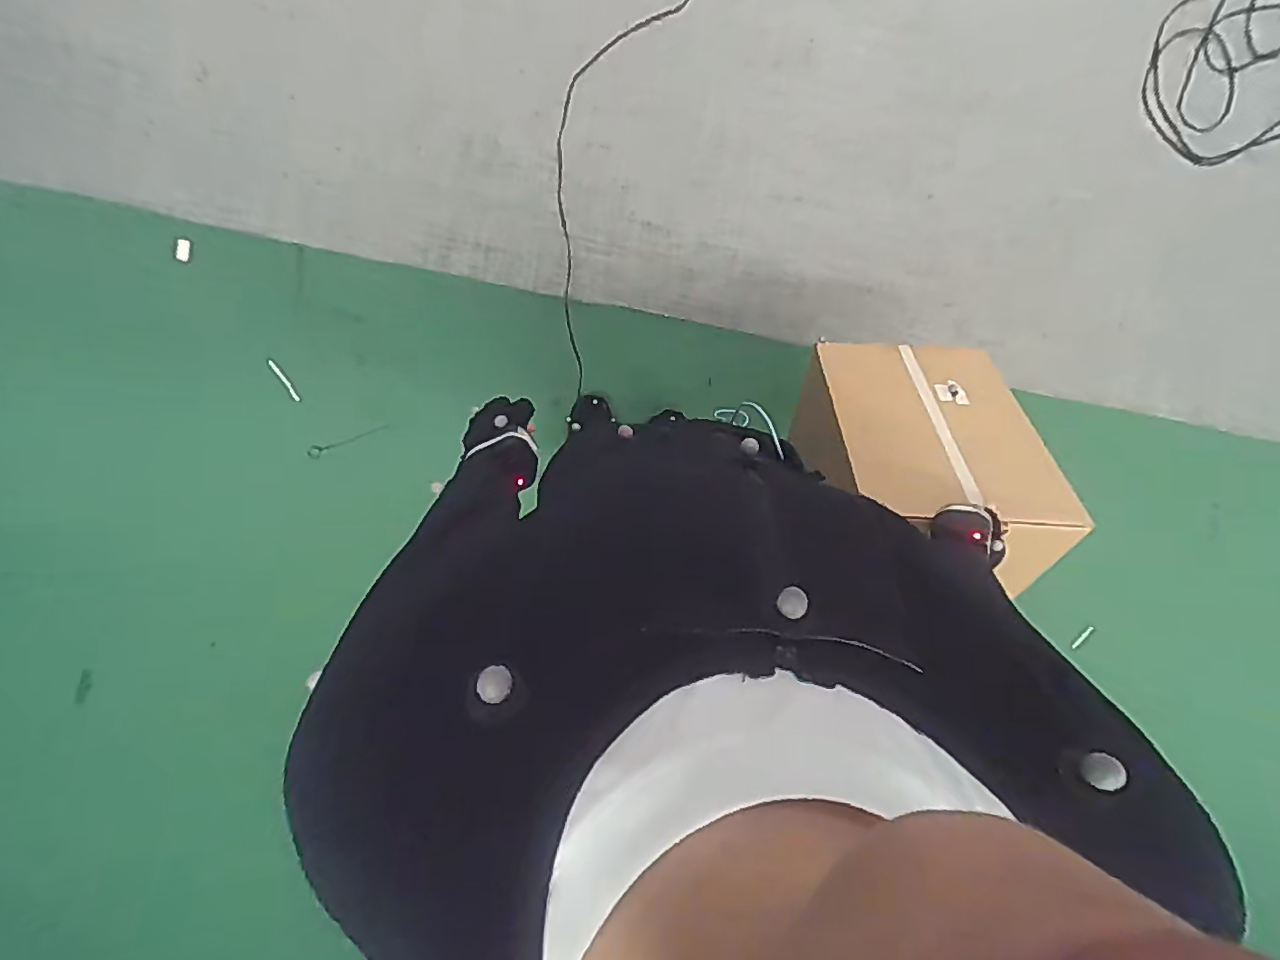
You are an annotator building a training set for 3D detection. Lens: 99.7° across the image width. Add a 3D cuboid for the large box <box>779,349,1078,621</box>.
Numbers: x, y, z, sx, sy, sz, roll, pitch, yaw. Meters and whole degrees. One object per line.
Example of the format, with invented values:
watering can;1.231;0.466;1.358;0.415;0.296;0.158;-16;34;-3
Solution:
large box;0.463;0.008;0.994;0.320;0.408;0.320;3;138;0
